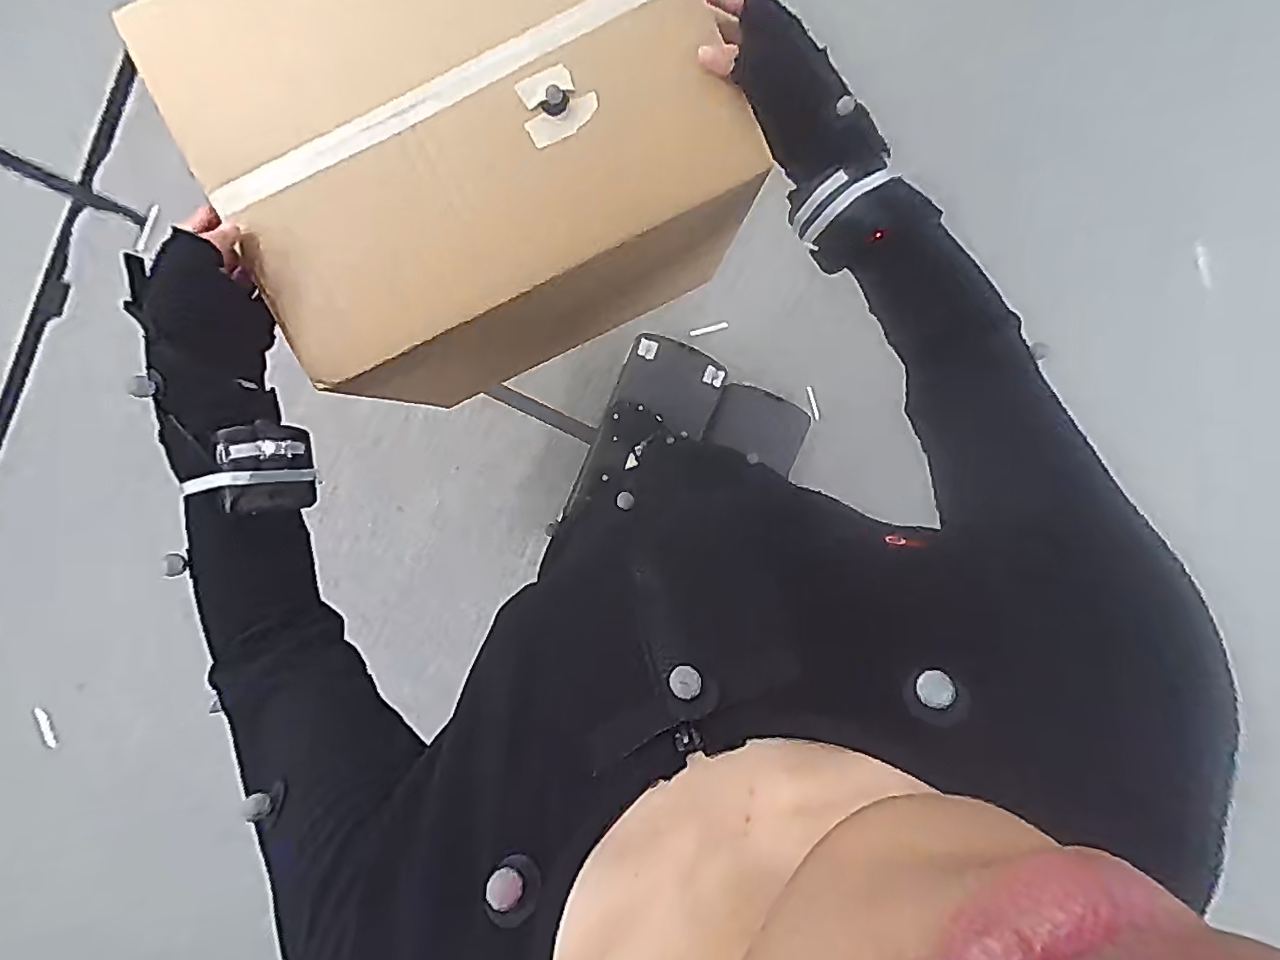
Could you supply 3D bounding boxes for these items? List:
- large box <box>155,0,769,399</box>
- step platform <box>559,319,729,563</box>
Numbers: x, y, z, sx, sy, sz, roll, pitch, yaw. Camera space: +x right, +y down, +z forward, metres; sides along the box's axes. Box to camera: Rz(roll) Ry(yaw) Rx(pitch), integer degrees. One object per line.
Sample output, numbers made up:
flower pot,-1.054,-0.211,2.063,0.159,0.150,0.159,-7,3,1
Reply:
large box,-0.141,-0.319,0.575,0.408,0.320,0.320,-26,95,0
step platform,0.007,-0.109,1.572,0.286,0.204,0.684,22,92,-4
